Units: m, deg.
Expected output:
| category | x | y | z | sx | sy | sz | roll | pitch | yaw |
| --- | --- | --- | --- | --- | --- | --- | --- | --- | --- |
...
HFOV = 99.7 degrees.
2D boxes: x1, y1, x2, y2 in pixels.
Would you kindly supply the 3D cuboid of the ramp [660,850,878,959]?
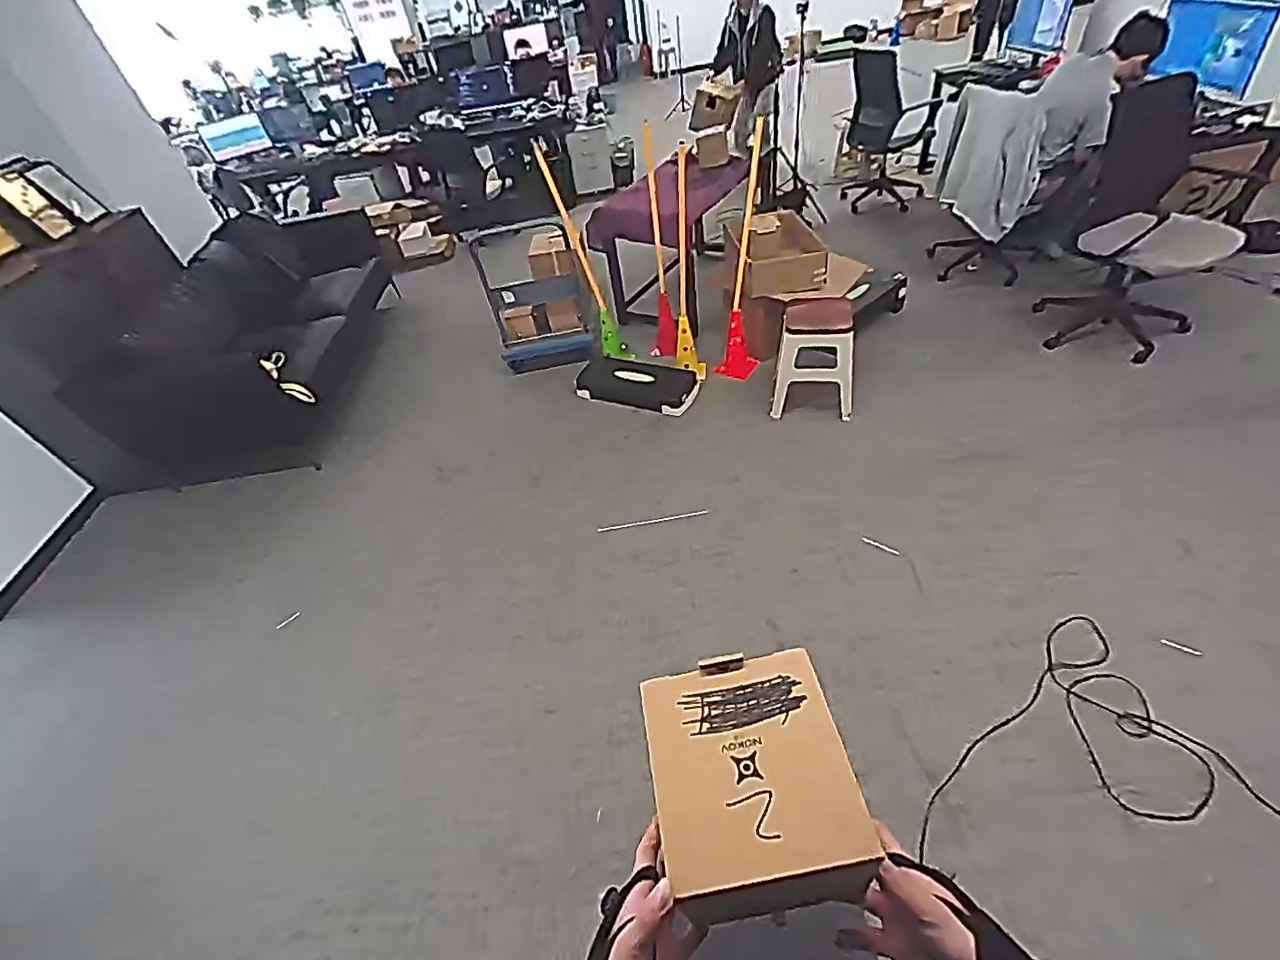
| category | x | y | z | sx | sy | sz | roll | pitch | yaw |
| --- | --- | --- | --- | --- | --- | --- | --- | --- | --- |
| ramp | 0.320 | 1.284 | 1.008 | 0.509 | 0.206 | 0.991 | -12 | 43 | 2 |
